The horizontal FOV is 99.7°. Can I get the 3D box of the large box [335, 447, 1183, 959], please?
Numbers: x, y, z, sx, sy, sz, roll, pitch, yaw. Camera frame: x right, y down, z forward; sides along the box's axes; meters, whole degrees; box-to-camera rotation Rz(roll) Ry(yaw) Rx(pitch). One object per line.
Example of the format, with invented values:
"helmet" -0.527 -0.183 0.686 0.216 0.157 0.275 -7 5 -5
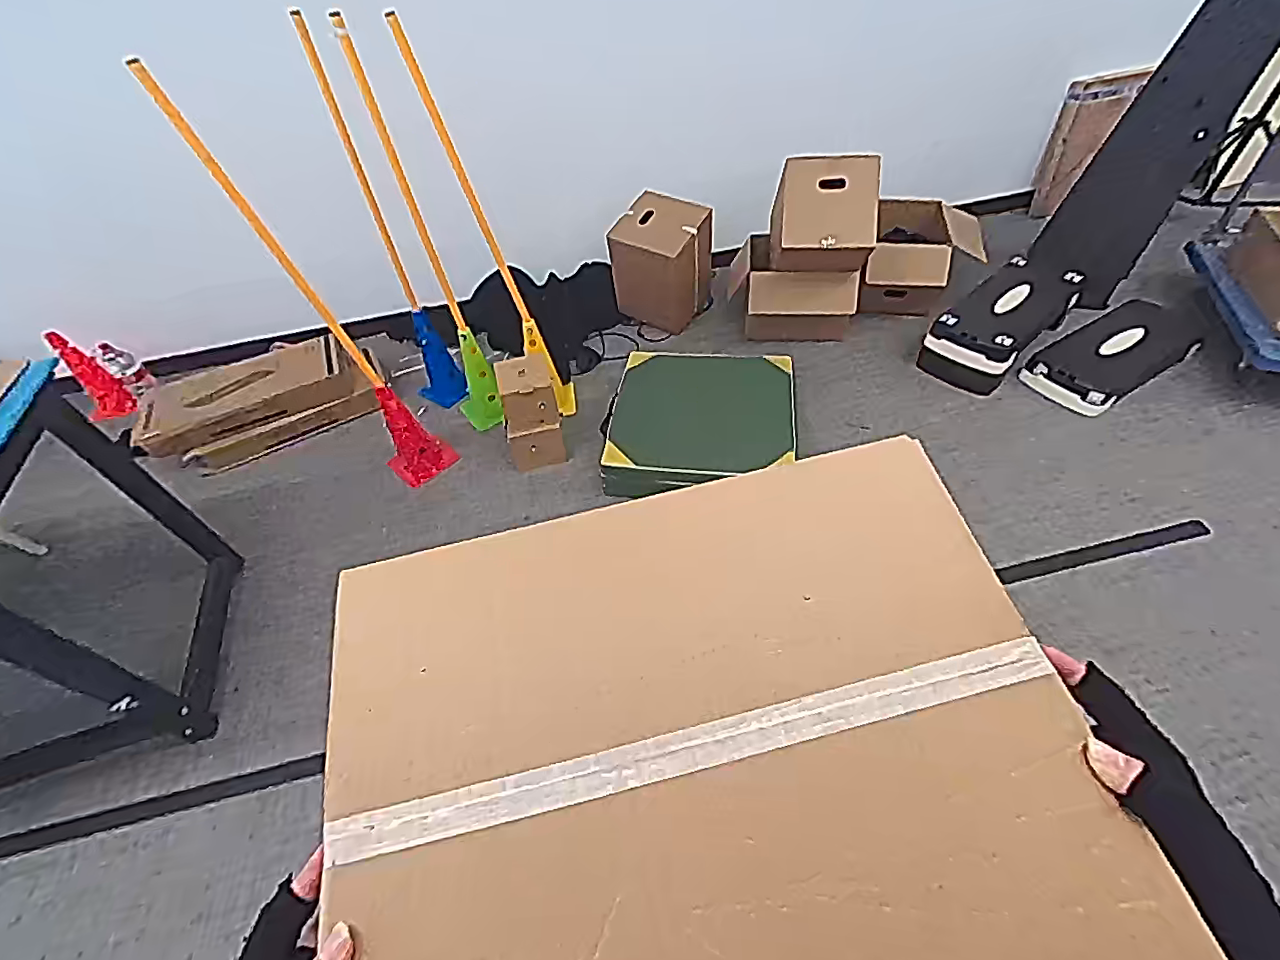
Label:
"large box" 0.041 0.221 0.439 0.408 0.320 0.320 -13 60 -2
